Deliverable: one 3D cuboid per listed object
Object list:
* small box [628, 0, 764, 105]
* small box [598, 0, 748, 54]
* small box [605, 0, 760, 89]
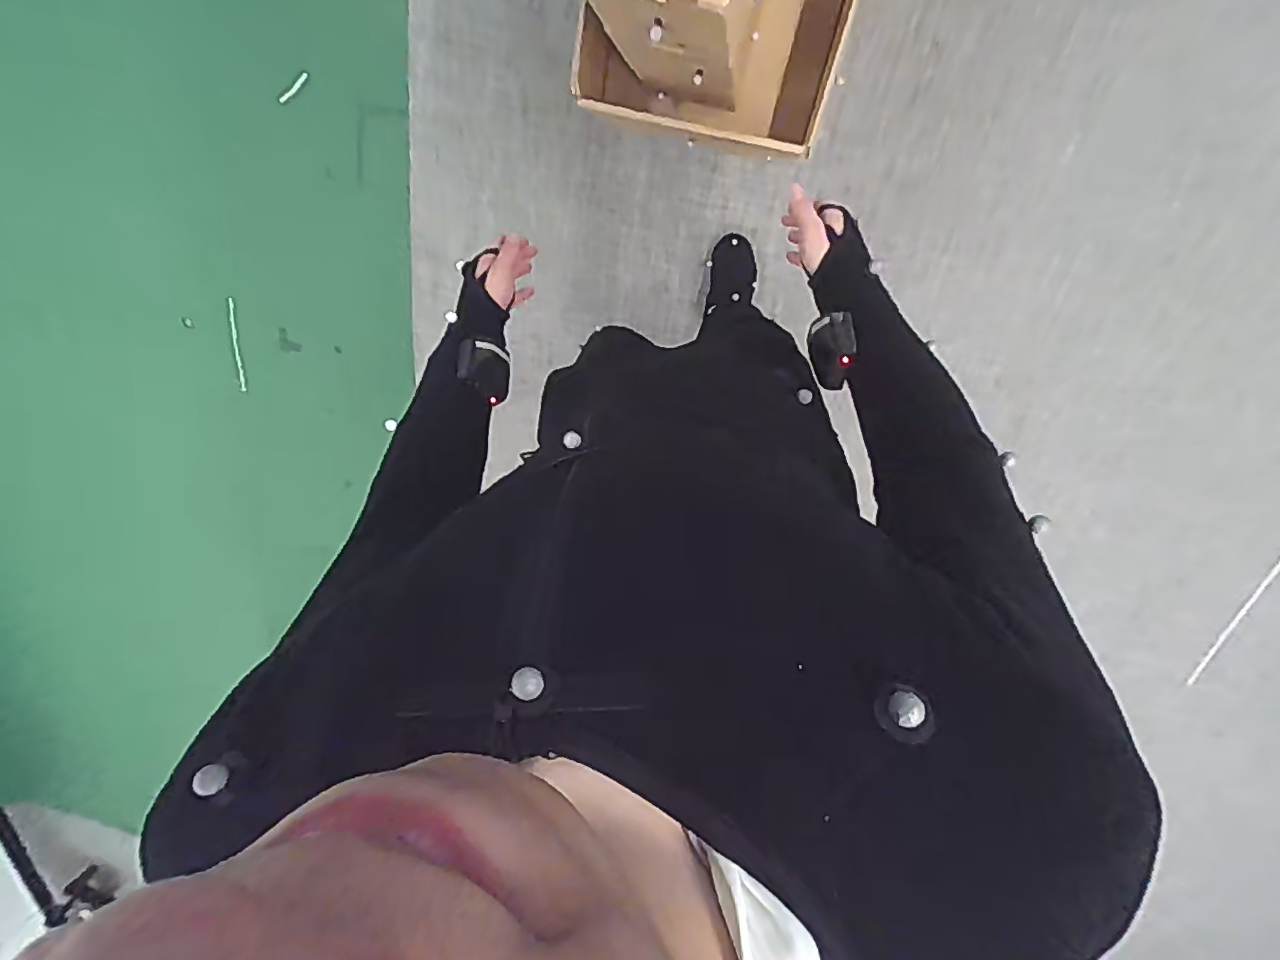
[{"bbox_3d":[0.094,-0.710,0.834,0.168,0.176,0.179,16,115,4],"label":"small box"},{"bbox_3d":[0.042,-0.570,0.544,0.168,0.176,0.179,19,116,2],"label":"small box"},{"bbox_3d":[0.069,-0.636,0.691,0.168,0.176,0.179,18,115,3],"label":"small box"}]
